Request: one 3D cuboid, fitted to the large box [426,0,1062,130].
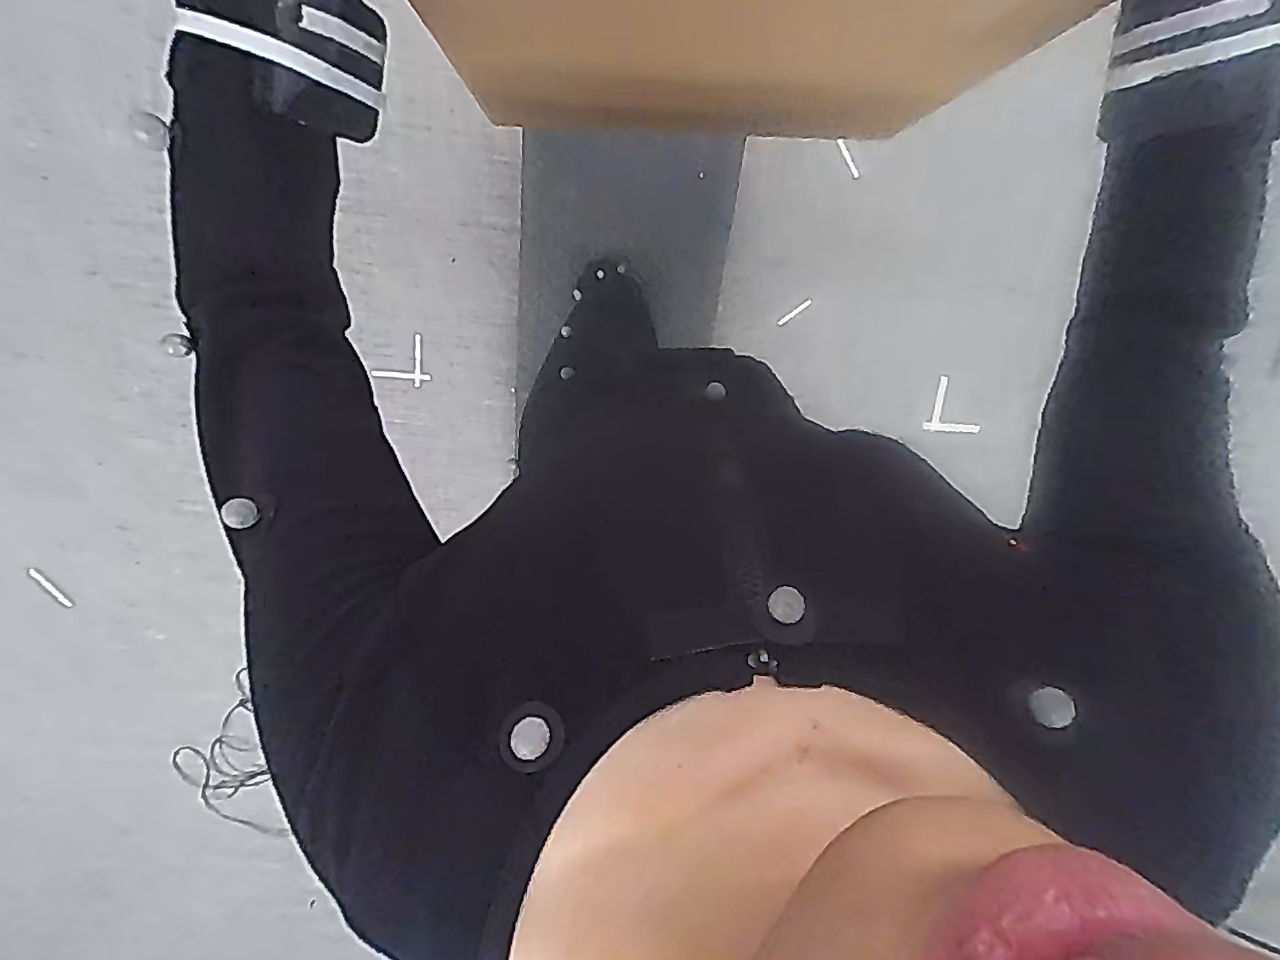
[{"bbox_3d":[0.059,-0.458,0.361,0.408,0.320,0.320,0,108,-3],"label":"large box"}]

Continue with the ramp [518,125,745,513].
[{"bbox_3d":[-0.057,-0.369,1.376,0.509,0.206,0.991,3,105,-5],"label":"ramp"}]
